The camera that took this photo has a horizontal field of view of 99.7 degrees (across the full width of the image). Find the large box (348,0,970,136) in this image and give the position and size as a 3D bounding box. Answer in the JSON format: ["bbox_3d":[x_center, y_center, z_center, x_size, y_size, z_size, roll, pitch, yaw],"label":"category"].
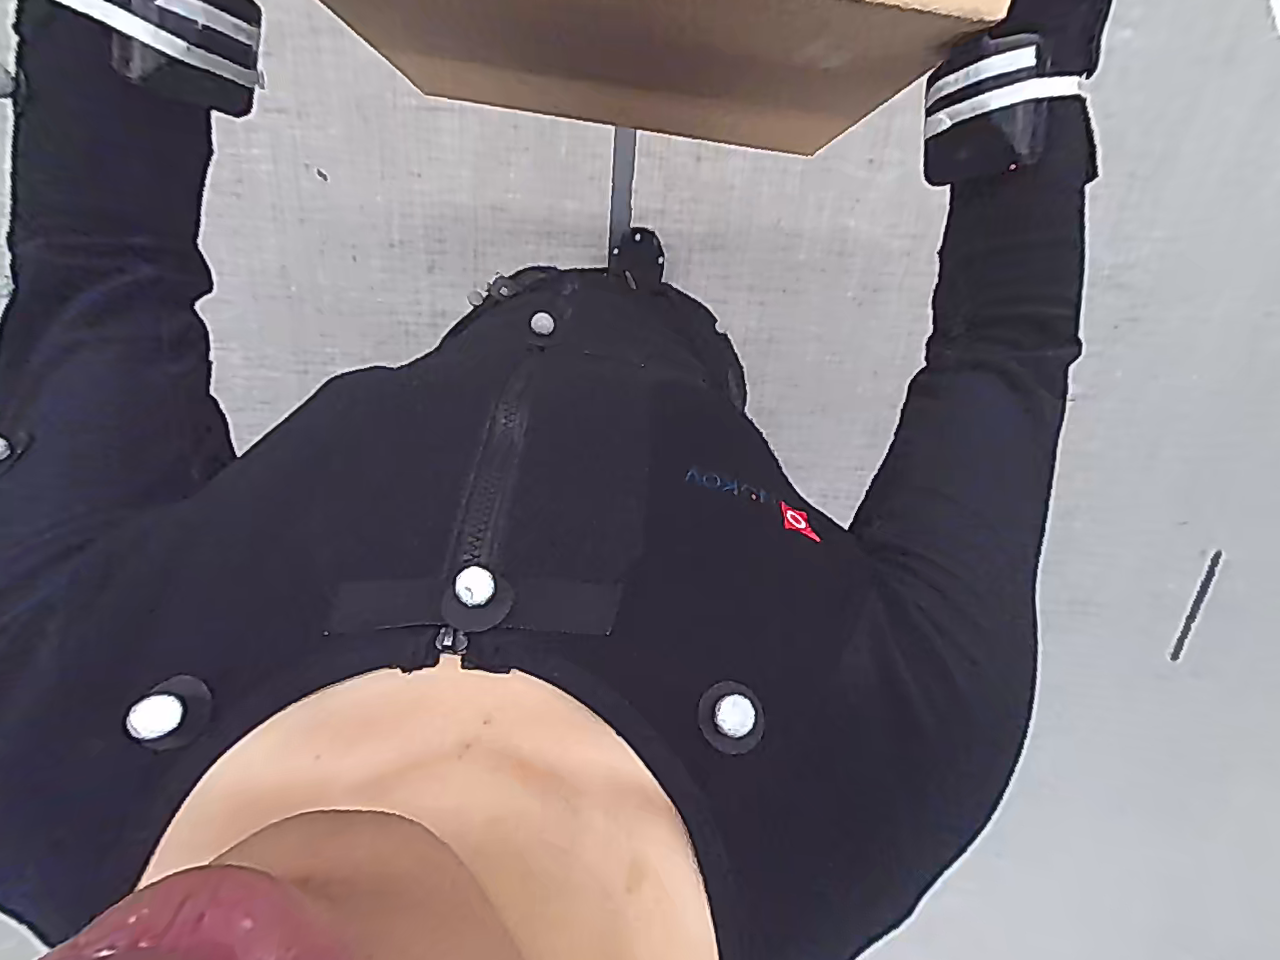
[{"bbox_3d":[0.003,-0.466,0.362,0.408,0.320,0.320,6,110,-3],"label":"large box"}]
